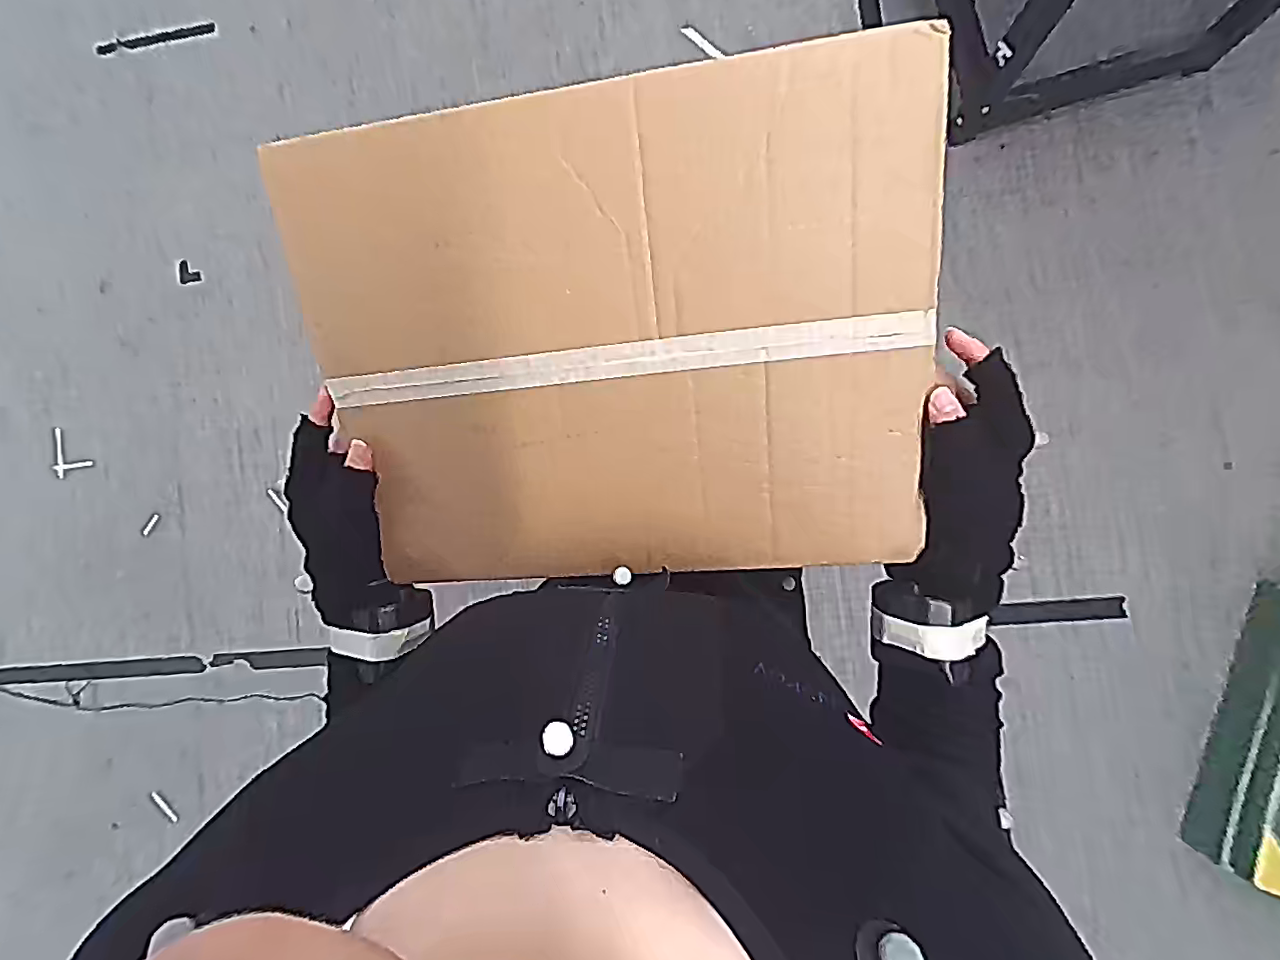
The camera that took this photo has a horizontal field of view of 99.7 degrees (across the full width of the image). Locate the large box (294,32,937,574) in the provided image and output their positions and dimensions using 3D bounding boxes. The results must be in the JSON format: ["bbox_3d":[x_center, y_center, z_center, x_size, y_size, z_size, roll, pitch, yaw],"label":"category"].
[{"bbox_3d":[0.000,-0.128,0.506,0.408,0.320,0.320,-4,109,9],"label":"large box"}]
